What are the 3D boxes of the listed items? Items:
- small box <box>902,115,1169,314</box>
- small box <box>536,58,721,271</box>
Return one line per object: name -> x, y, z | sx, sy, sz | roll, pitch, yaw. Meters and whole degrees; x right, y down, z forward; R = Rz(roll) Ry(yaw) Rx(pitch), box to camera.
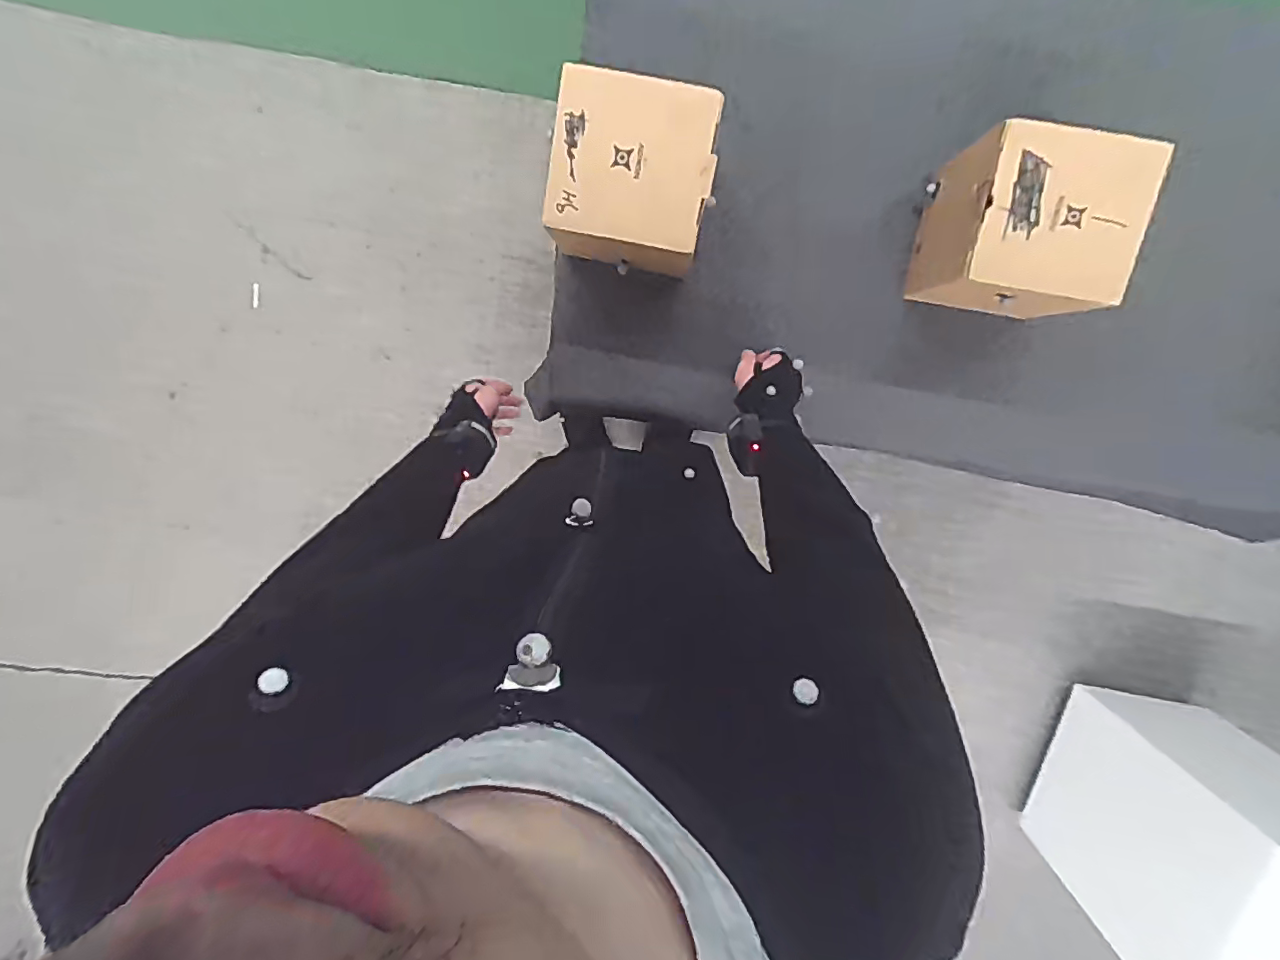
small box -> 0.450, -0.301, 0.652 | 0.179, 0.176, 0.168 | 10, 103, -1
small box -> -0.014, -0.363, 0.659 | 0.179, 0.176, 0.168 | 11, 103, -1
